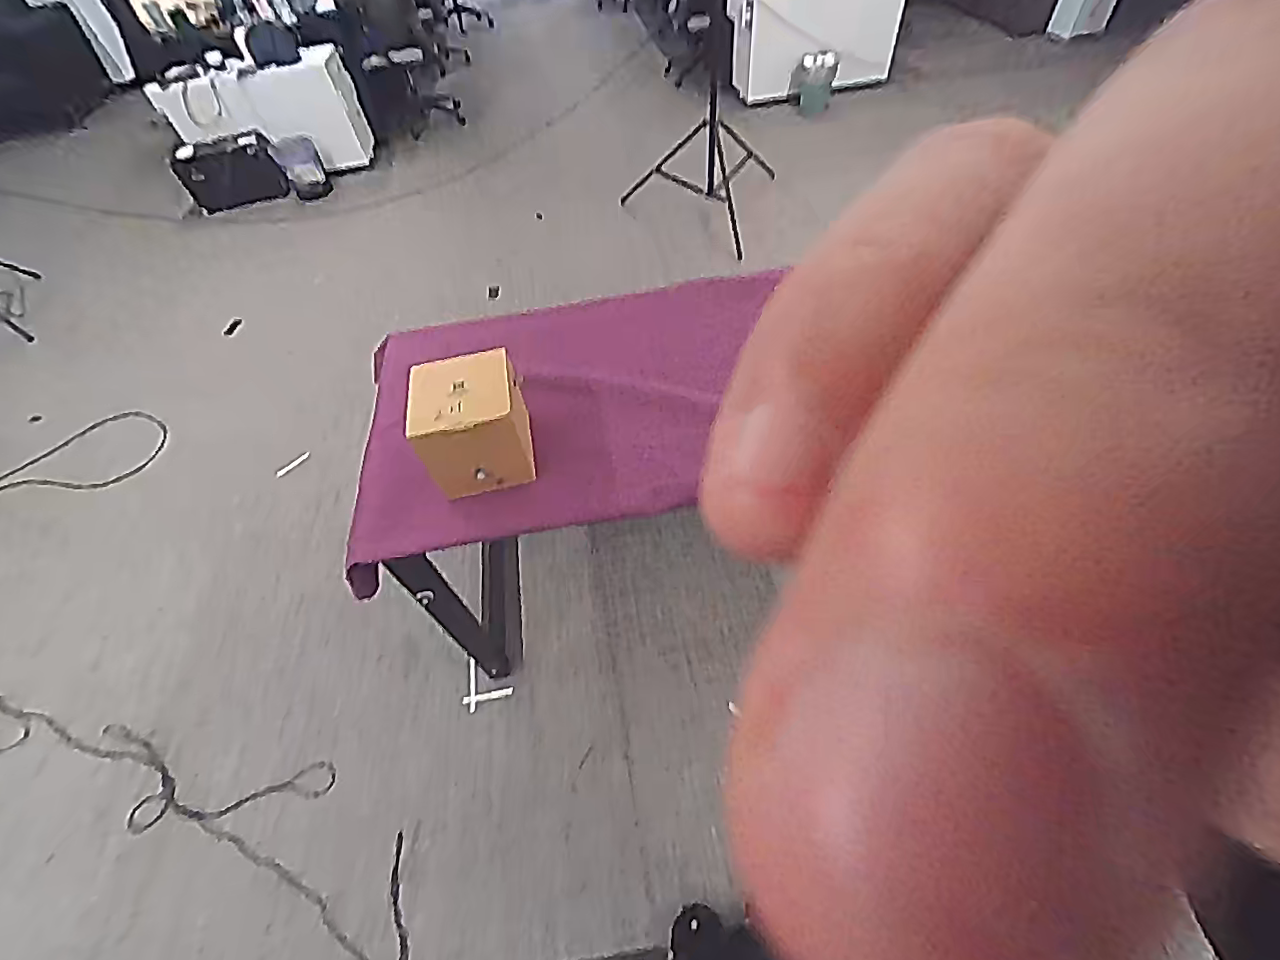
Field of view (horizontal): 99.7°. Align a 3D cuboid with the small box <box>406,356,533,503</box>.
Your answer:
[{"bbox_3d":[-0.292,-0.087,0.954,0.168,0.176,0.179,-13,51,-4],"label":"small box"}]
